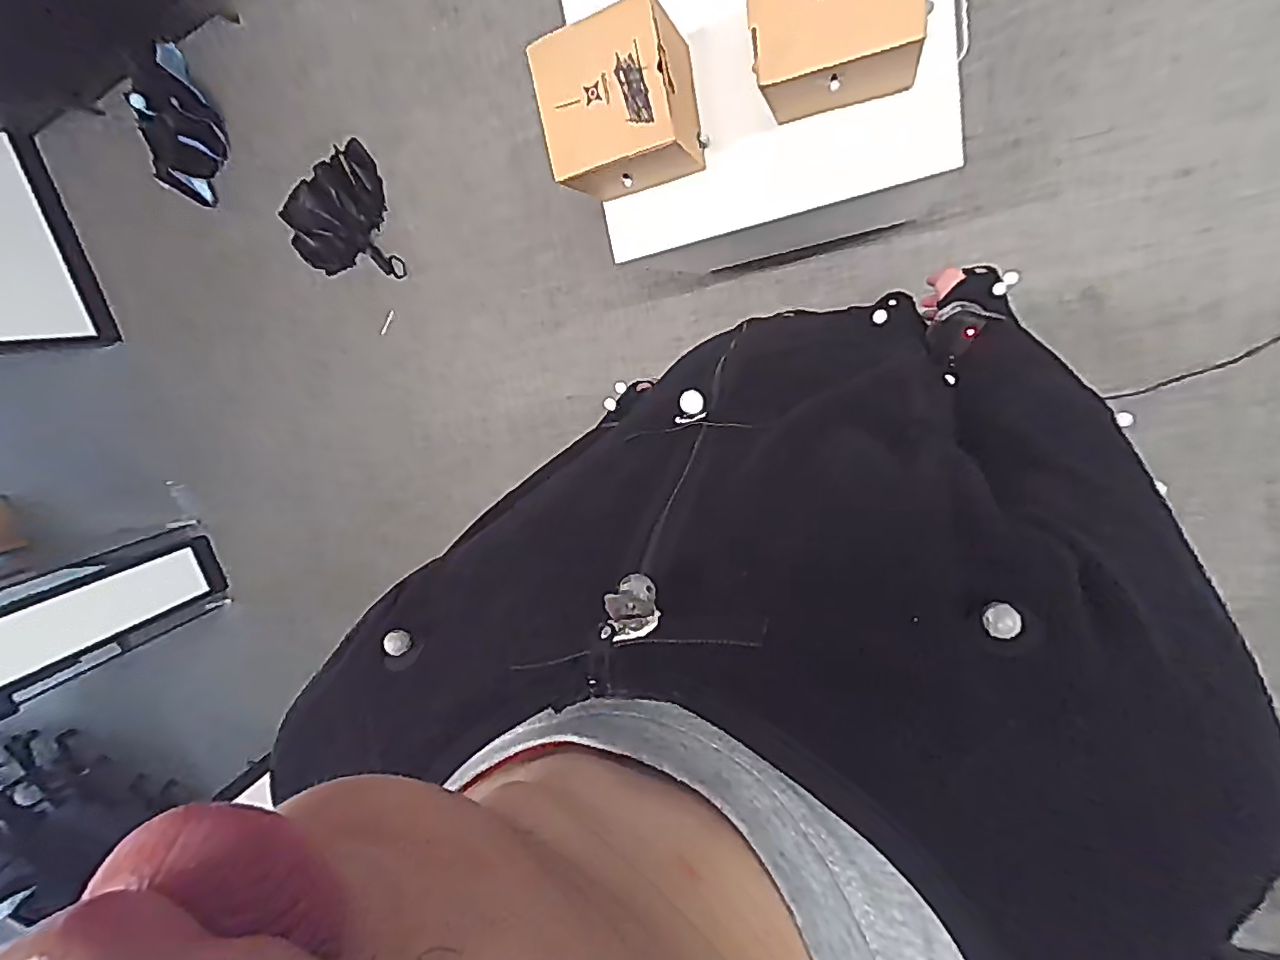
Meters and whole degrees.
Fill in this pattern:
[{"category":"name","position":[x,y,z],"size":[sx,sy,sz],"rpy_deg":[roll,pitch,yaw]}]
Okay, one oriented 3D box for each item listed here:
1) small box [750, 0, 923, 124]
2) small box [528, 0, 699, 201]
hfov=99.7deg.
[{"category":"small box","position":[0.231,-0.551,0.640],"size":[0.179,0.176,0.168],"rpy_deg":[-1,108,22]},{"category":"small box","position":[-0.024,-0.509,0.754],"size":[0.179,0.176,0.168],"rpy_deg":[-5,105,23]}]
